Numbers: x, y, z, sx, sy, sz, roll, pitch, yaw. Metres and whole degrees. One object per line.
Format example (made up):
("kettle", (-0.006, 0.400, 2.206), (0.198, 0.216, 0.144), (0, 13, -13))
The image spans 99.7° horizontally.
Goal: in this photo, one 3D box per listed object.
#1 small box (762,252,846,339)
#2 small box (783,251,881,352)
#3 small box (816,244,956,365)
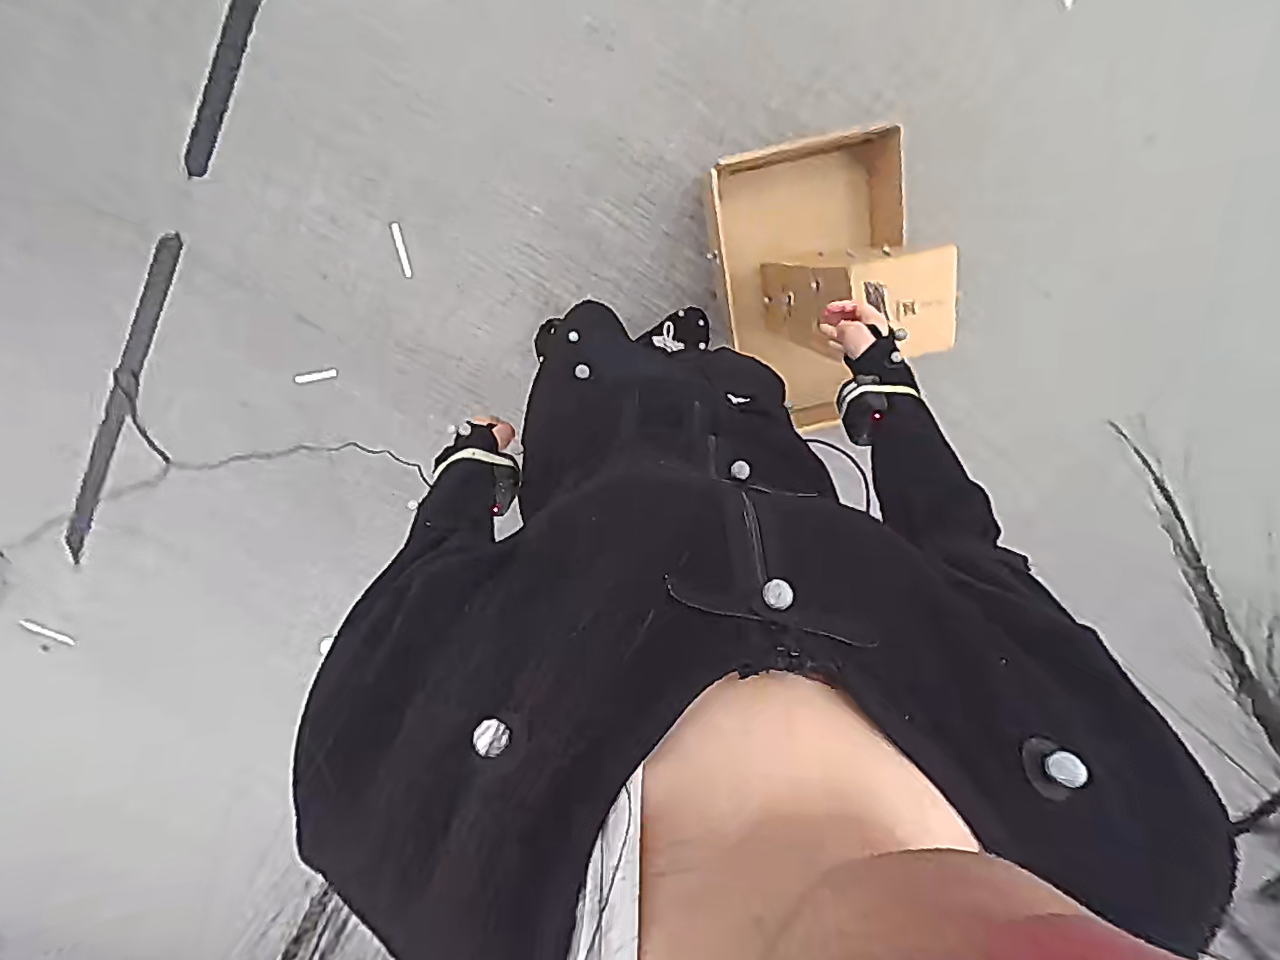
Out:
("small box", (0.395, -0.434, 1.256), (0.179, 0.176, 0.168), (-9, 112, 0))
("small box", (0.407, -0.371, 1.107), (0.179, 0.176, 0.168), (-10, 112, 1))
("small box", (0.422, -0.311, 0.955), (0.179, 0.176, 0.168), (-12, 112, 0))
